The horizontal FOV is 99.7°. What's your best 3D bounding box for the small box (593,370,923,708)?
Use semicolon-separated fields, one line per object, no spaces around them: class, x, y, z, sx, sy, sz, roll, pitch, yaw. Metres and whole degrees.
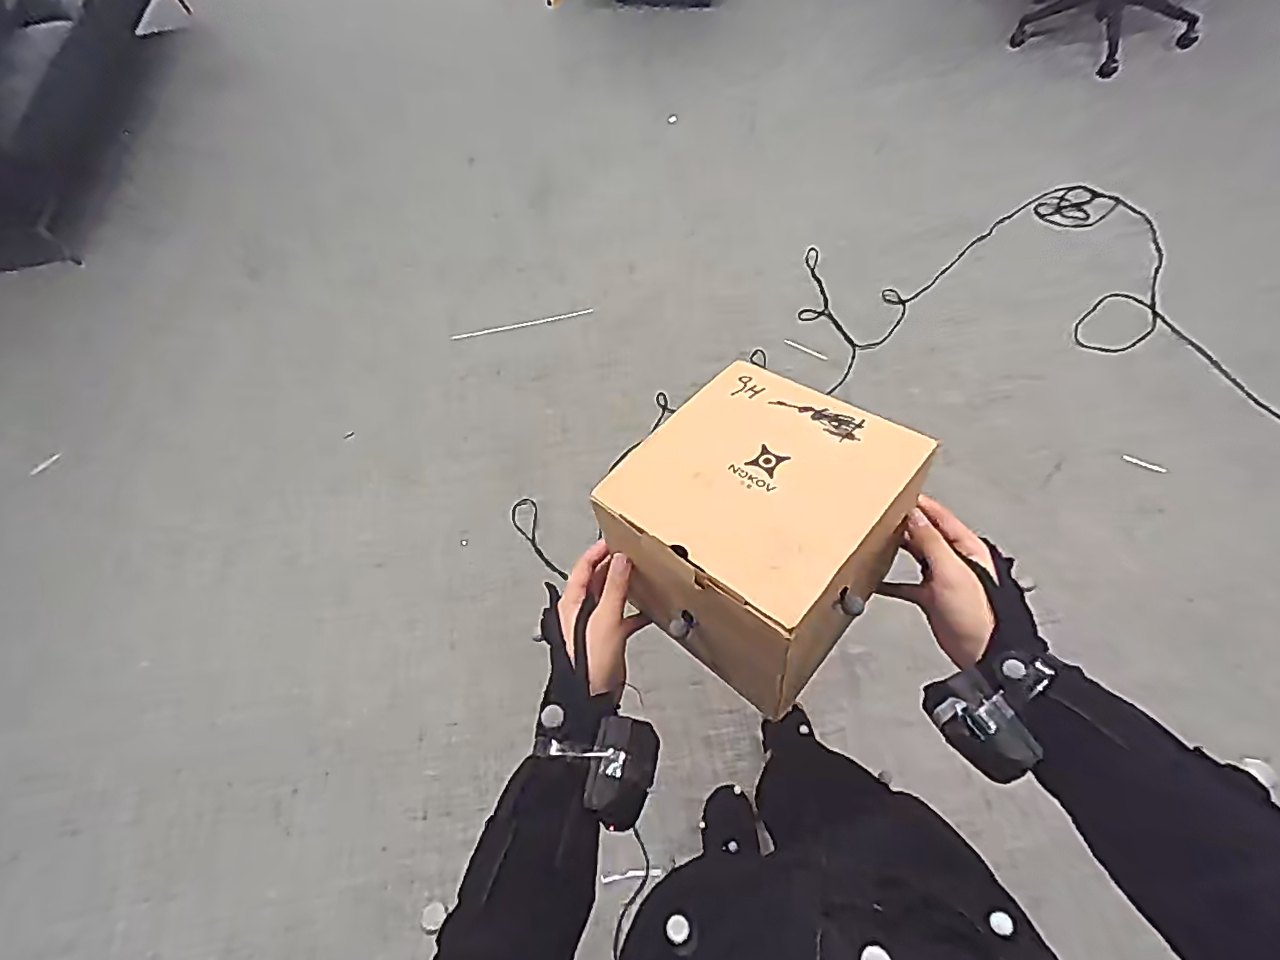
small box;0.093;0.049;0.438;0.168;0.176;0.179;32;64;32
